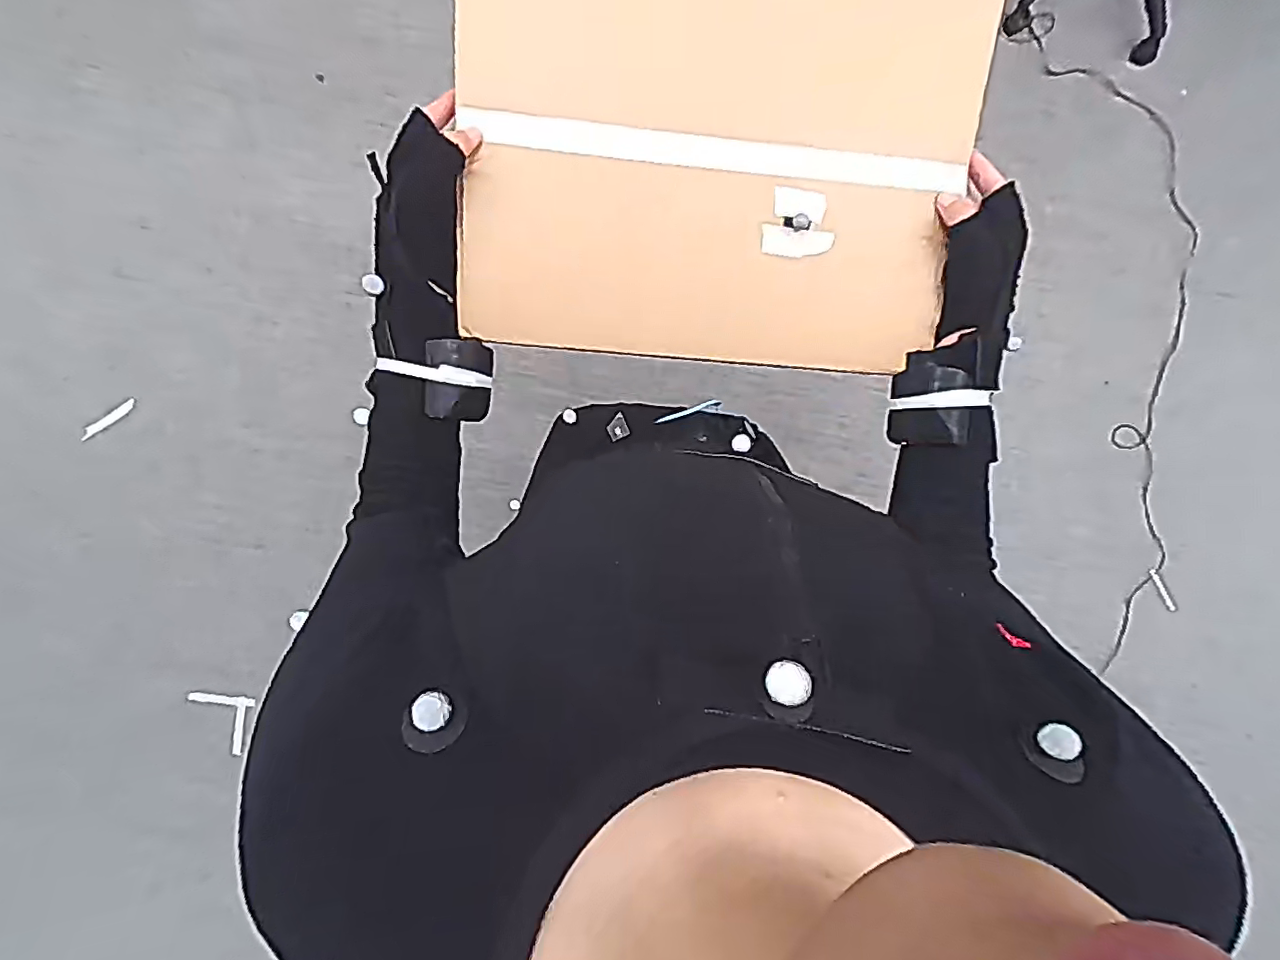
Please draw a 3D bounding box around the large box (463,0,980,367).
[{"bbox_3d":[0.047,-0.297,0.581,0.408,0.320,0.320,3,106,-6],"label":"large box"}]
